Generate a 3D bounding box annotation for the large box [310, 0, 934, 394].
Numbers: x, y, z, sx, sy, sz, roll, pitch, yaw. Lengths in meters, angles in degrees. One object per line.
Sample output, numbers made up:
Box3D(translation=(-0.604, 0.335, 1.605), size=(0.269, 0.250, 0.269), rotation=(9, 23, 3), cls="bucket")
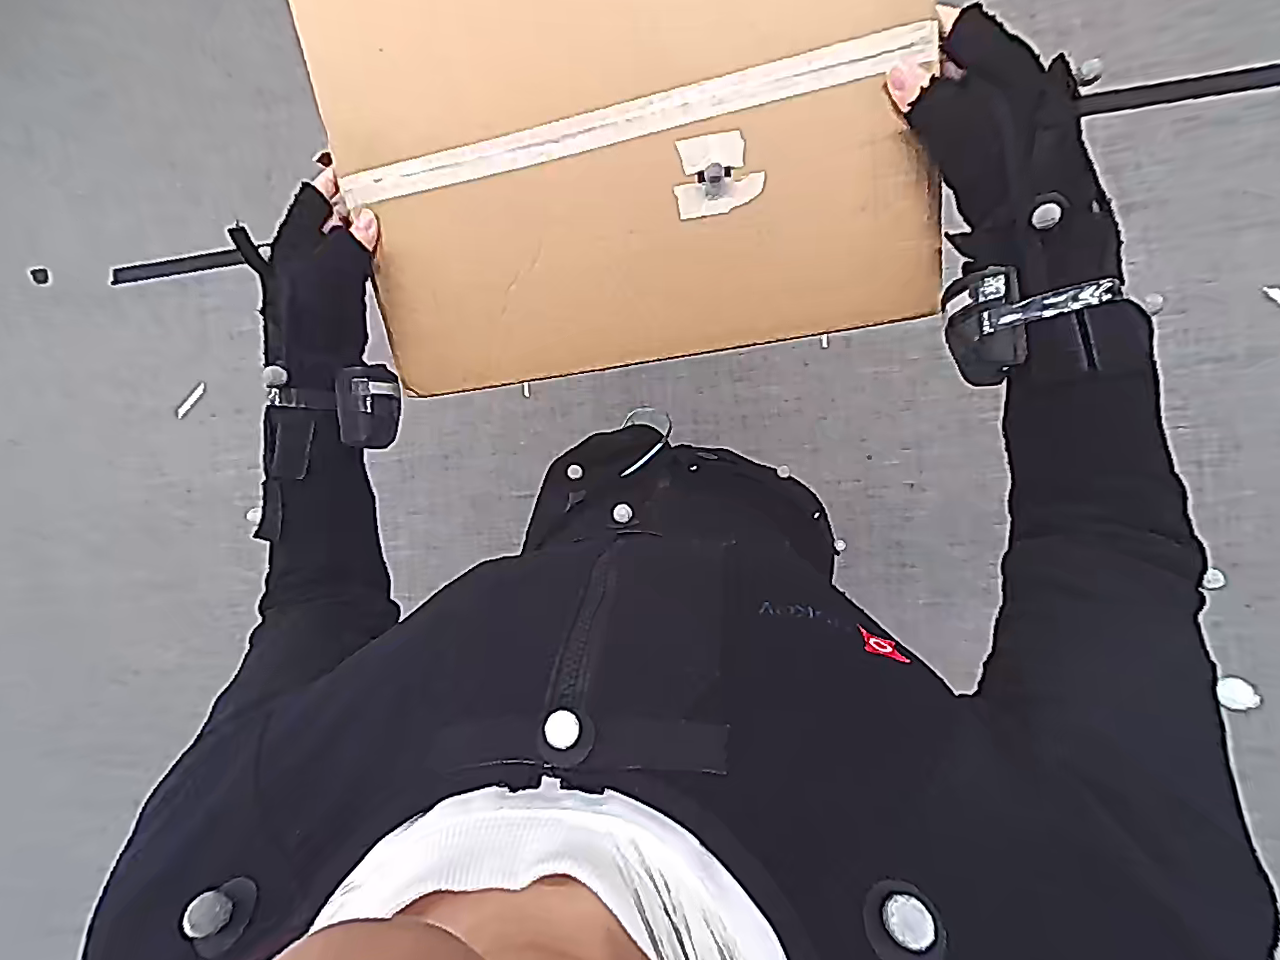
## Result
Box3D(translation=(0.005, -0.287, 0.515), size=(0.408, 0.320, 0.320), rotation=(-8, 107, 11), cls="large box")
